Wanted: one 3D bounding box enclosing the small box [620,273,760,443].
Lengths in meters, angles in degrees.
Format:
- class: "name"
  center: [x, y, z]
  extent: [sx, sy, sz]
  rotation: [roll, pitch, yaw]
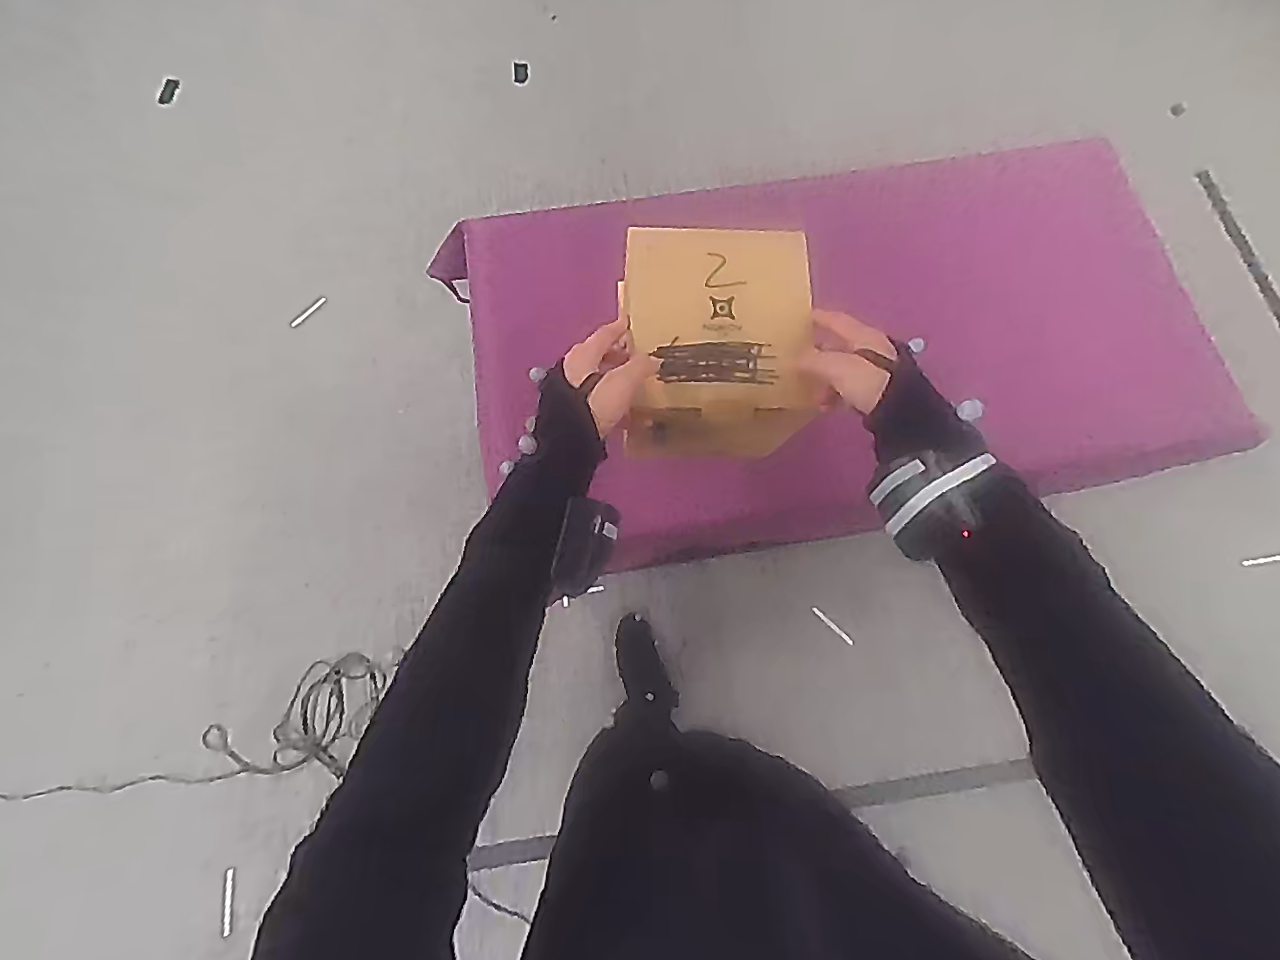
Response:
- class: "small box"
  center: [0.061, -0.172, 0.795]
  extent: [0.168, 0.176, 0.179]
  rotation: [-9, 74, -3]
